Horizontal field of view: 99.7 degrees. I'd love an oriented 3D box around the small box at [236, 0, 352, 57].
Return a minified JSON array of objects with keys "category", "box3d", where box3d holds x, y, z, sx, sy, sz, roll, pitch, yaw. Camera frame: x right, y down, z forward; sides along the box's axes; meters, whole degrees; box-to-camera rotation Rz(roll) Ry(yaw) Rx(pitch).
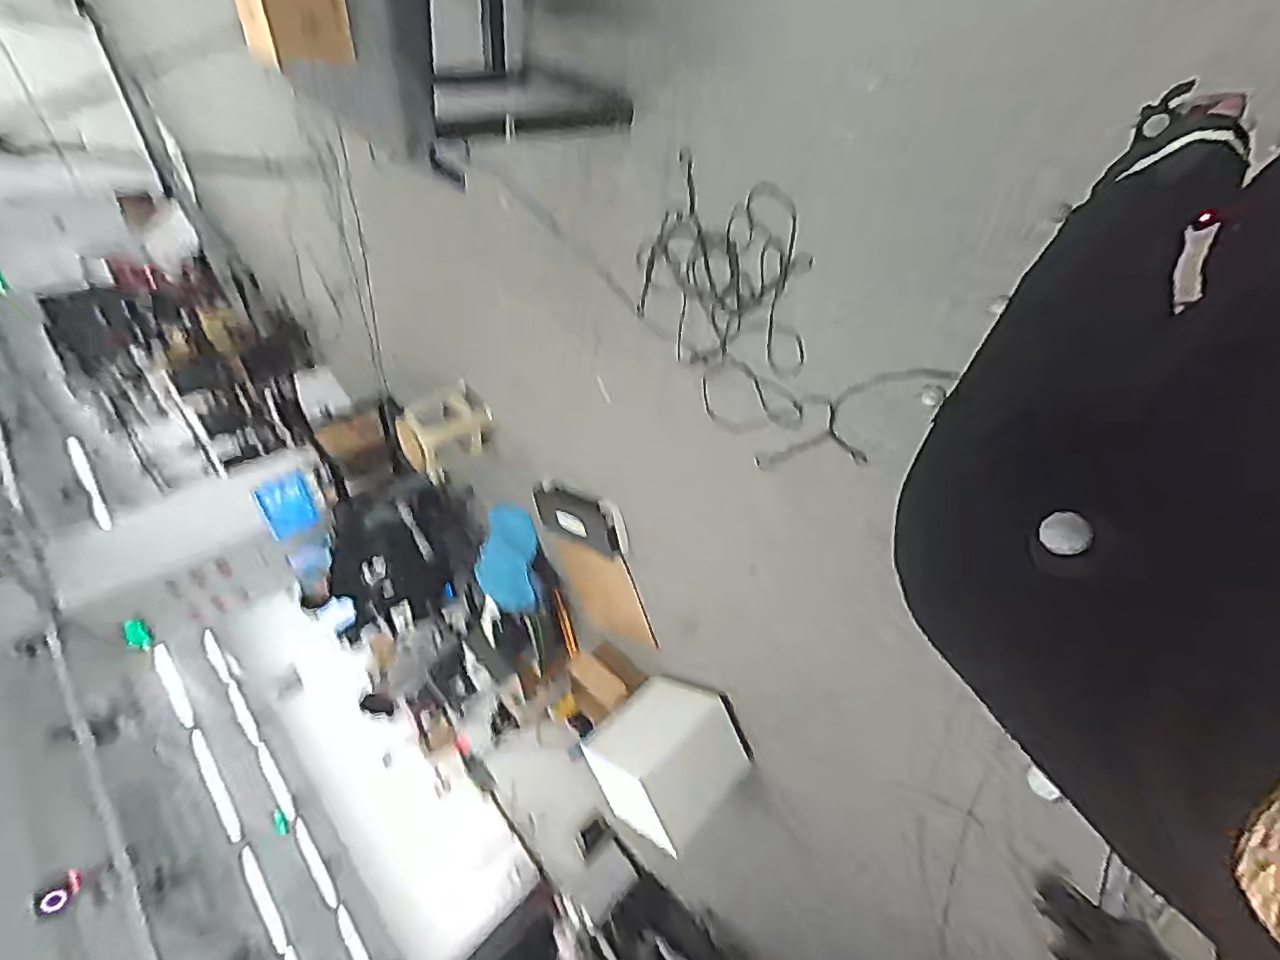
[{"category":"small box","box3d":[-0.725,-1.000,1.124,0.179,0.176,0.168,39,141,28]}]
